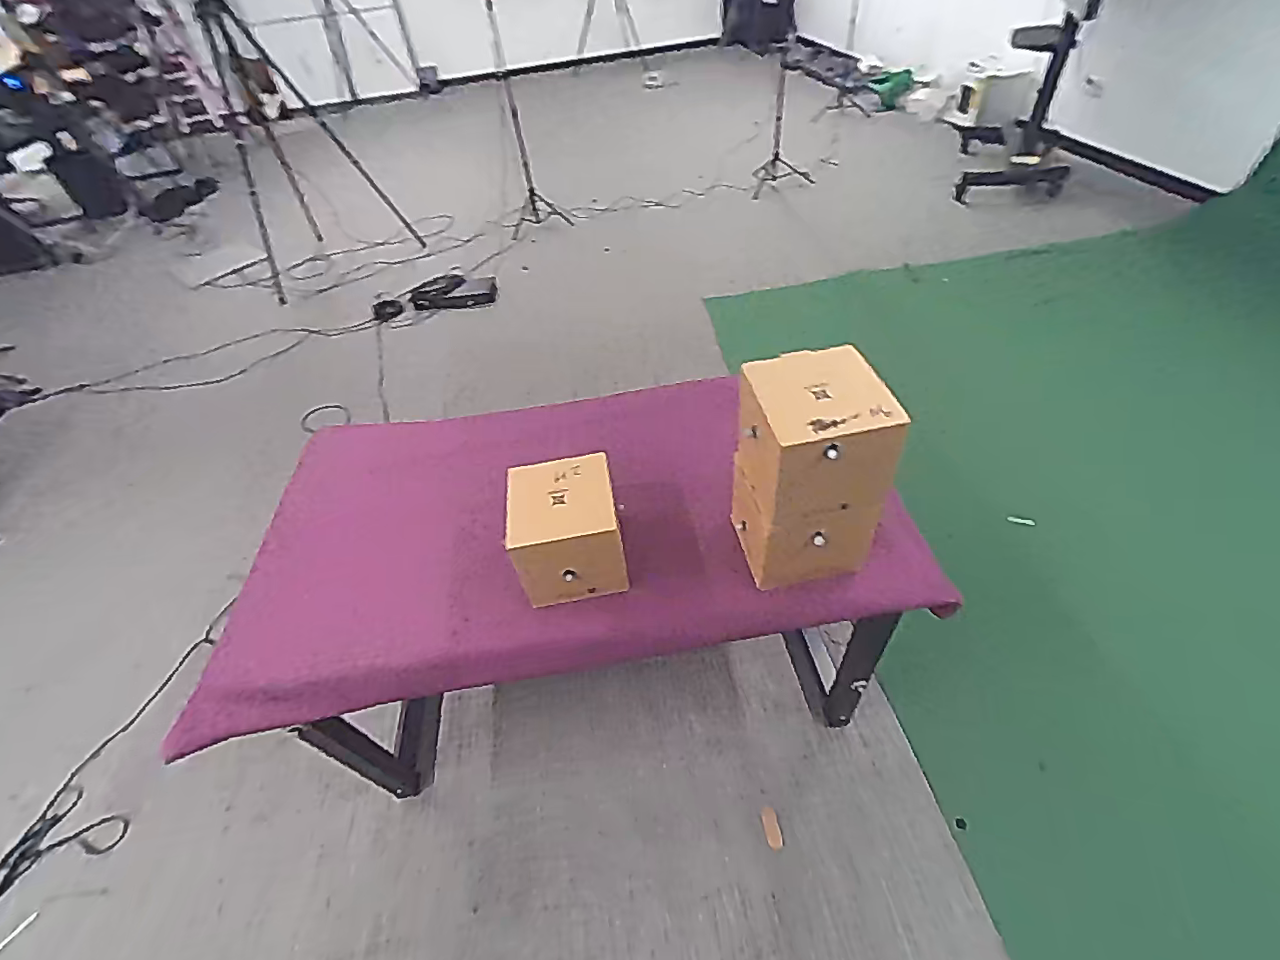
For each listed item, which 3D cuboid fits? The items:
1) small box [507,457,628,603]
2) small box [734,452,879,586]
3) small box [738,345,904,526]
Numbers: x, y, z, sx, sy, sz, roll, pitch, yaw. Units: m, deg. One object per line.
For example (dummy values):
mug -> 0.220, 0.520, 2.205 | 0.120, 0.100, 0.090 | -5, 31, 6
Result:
small box -> -0.118, 0.091, 0.912 | 0.168, 0.176, 0.179 | -11, 45, -1
small box -> 0.259, 0.051, 0.889 | 0.179, 0.176, 0.168 | -13, 47, -1
small box -> 0.241, -0.062, 0.772 | 0.168, 0.176, 0.179 | -13, 46, 0
